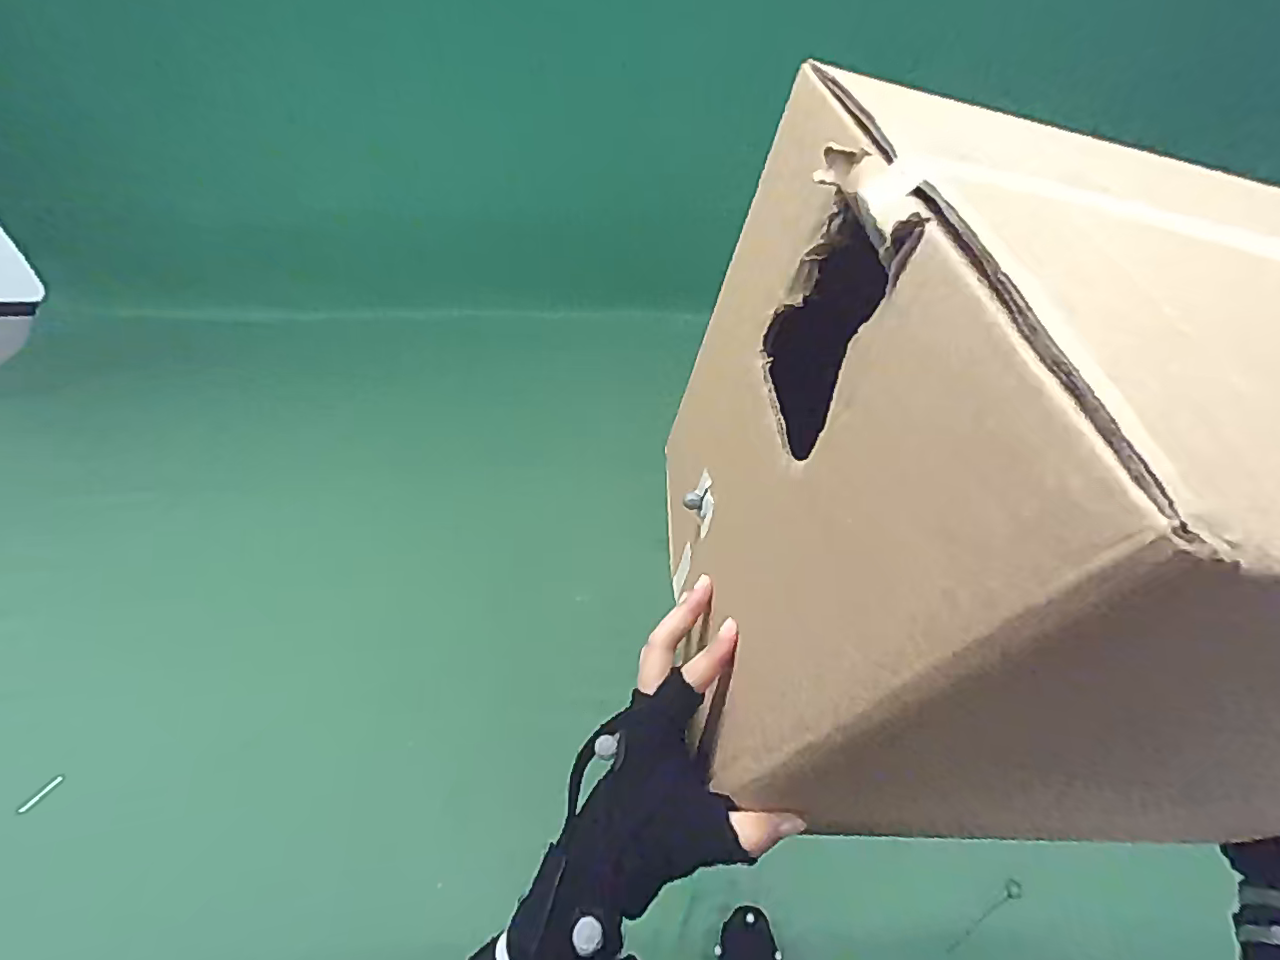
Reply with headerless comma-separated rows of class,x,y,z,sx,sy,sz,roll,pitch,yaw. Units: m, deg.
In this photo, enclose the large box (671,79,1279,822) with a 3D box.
large box,0.260,0.013,0.347,0.408,0.320,0.320,7,50,-11
